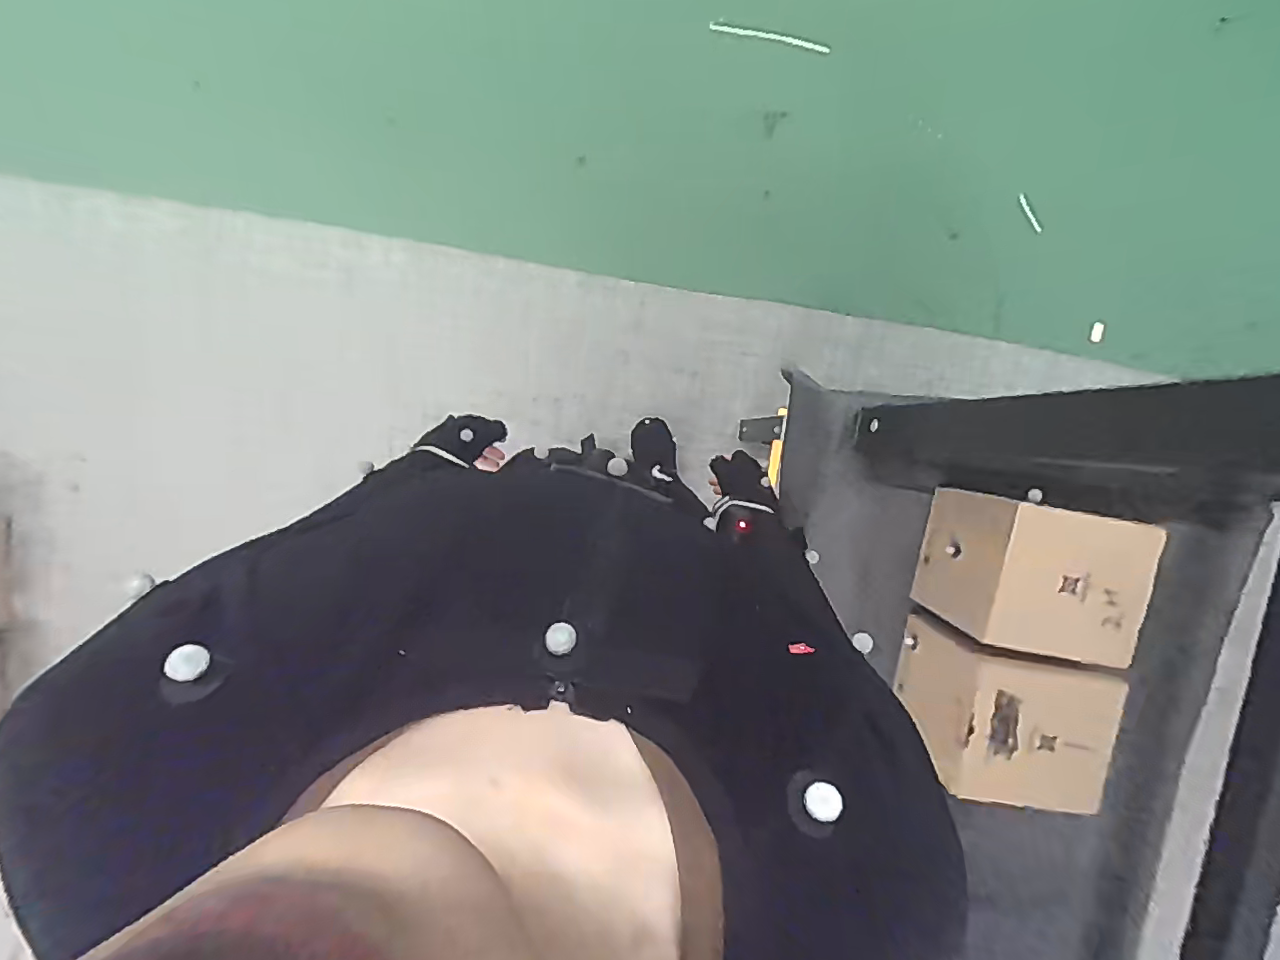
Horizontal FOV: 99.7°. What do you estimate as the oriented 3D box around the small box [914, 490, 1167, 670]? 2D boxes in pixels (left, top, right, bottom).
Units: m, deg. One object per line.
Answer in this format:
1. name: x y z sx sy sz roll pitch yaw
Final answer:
1. small box: 0.482 0.112 0.682 0.179 0.176 0.168 11 97 -2
